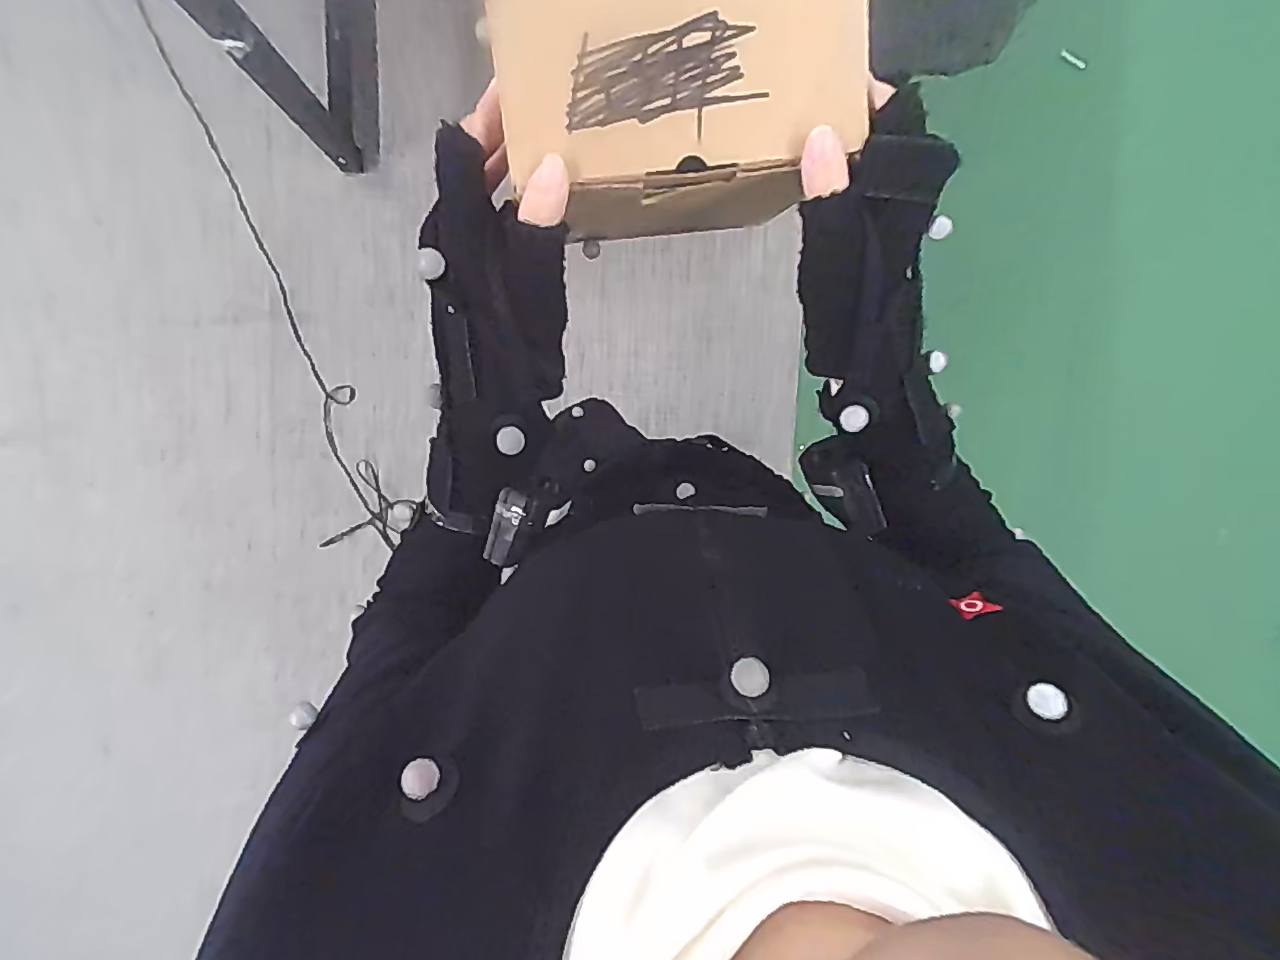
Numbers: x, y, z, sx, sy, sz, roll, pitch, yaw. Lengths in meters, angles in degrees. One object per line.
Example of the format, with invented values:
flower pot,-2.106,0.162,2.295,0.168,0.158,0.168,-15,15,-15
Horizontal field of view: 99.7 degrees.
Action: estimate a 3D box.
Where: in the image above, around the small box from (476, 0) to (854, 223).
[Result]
small box,0.005,-0.252,0.302,0.168,0.176,0.179,-7,105,-2
